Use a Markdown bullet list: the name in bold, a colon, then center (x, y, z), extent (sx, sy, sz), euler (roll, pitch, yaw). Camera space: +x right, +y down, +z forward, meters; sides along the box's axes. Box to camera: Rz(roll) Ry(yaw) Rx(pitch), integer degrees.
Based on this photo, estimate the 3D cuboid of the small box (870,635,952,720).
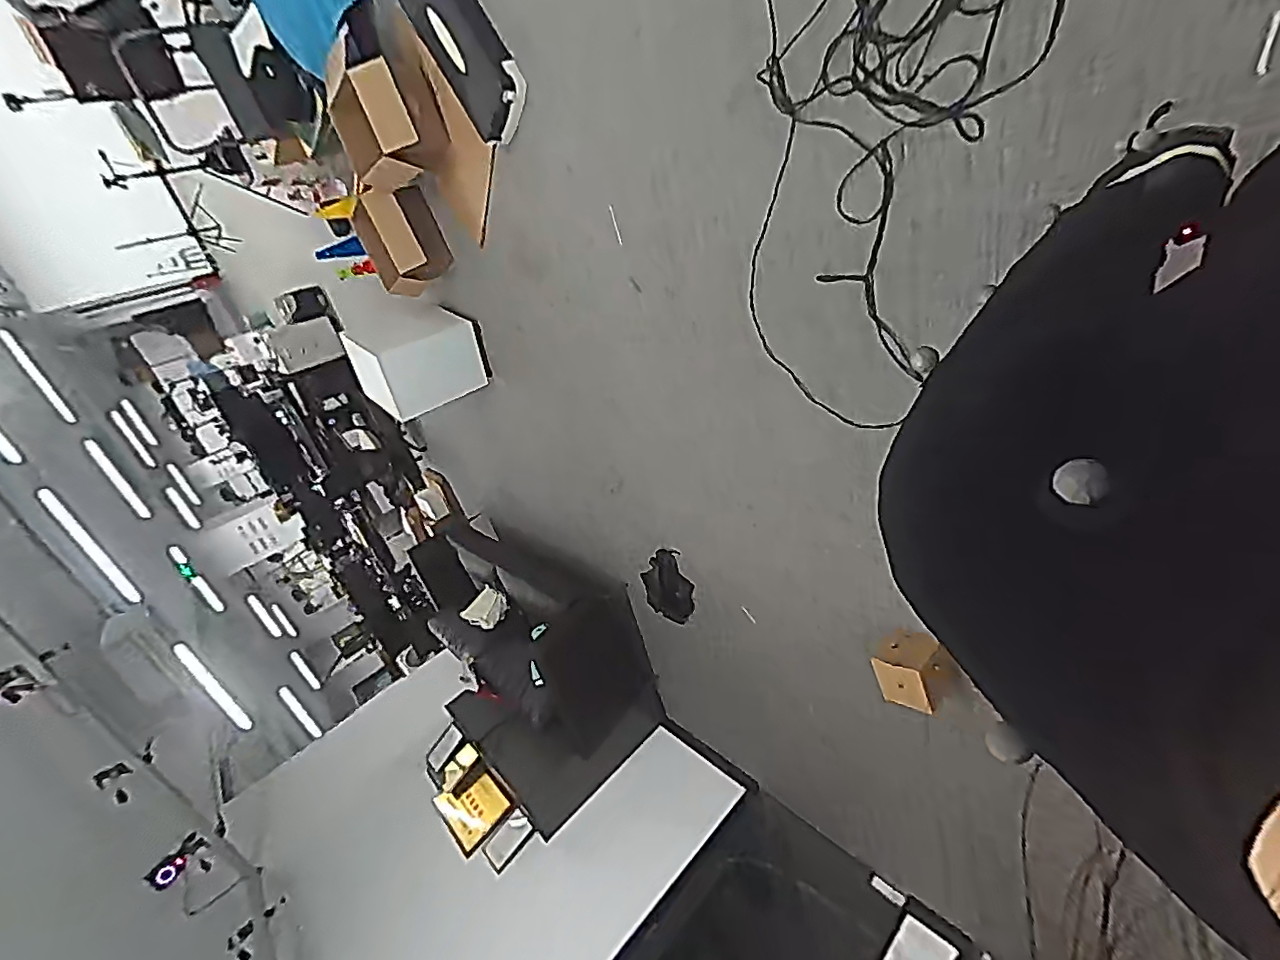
- **small box**: center (0.892, 0.640, 1.775), extent (0.168, 0.176, 0.179), euler (-1, 118, 56)
